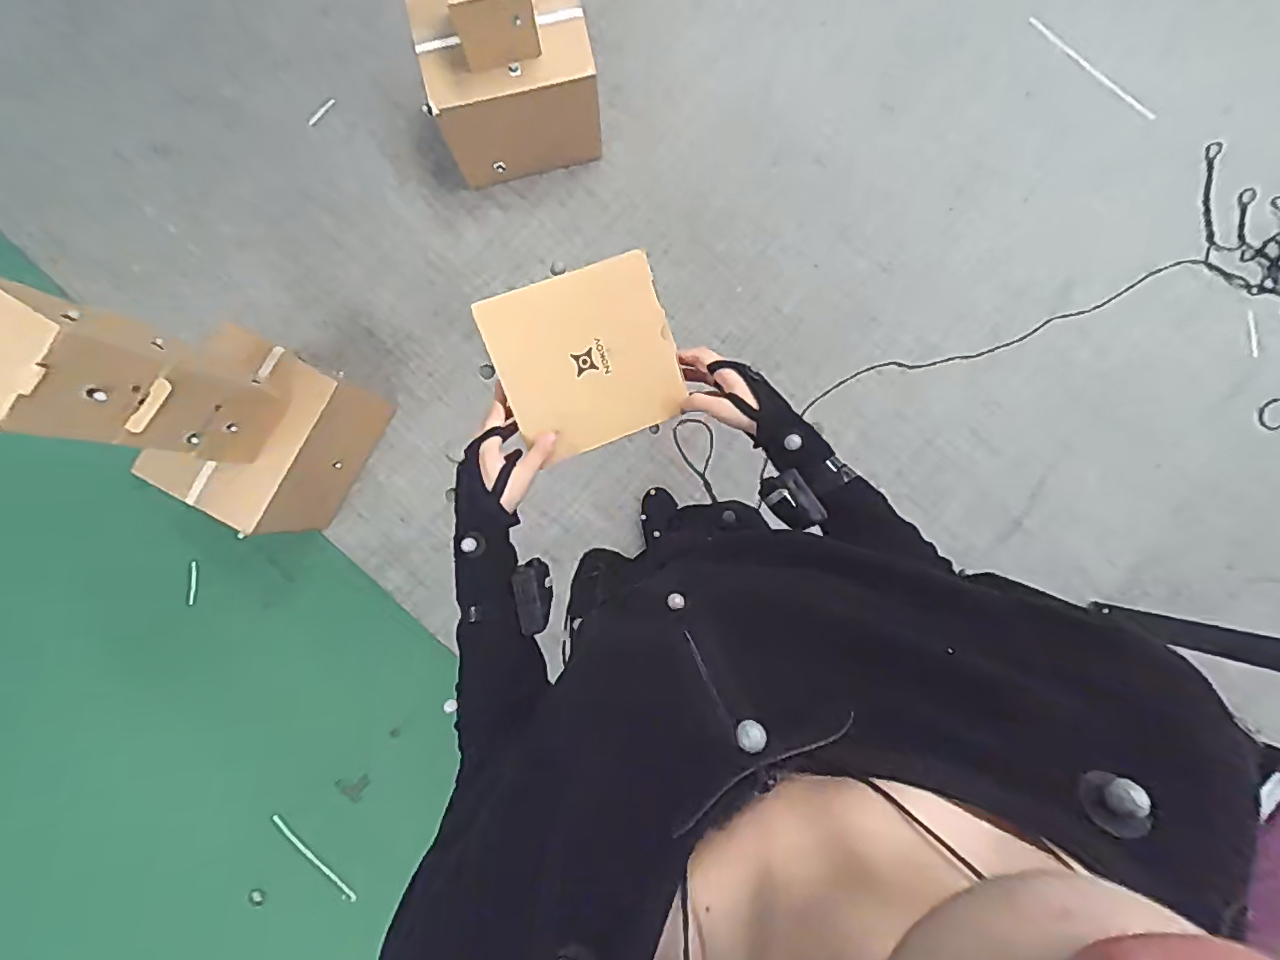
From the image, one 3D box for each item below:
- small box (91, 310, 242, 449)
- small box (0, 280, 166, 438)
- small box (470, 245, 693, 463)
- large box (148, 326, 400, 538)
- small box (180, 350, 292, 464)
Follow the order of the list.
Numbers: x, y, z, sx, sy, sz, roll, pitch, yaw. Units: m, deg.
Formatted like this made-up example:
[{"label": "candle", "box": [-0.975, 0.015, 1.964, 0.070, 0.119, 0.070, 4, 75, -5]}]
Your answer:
[{"label": "small box", "box": [-0.882, -0.168, 0.975, 0.179, 0.176, 0.168, 33, 87, 1]}, {"label": "small box", "box": [-0.886, -0.175, 0.811, 0.179, 0.176, 0.168, 32, 87, 0]}, {"label": "small box", "box": [-0.069, -0.132, 0.594, 0.179, 0.176, 0.168, -23, 105, -11]}, {"label": "large box", "box": [-0.898, -0.109, 1.381, 0.320, 0.320, 0.408, 28, 88, 3]}, {"label": "small box", "box": [-0.885, -0.148, 1.138, 0.168, 0.176, 0.179, 32, 87, 0]}]
